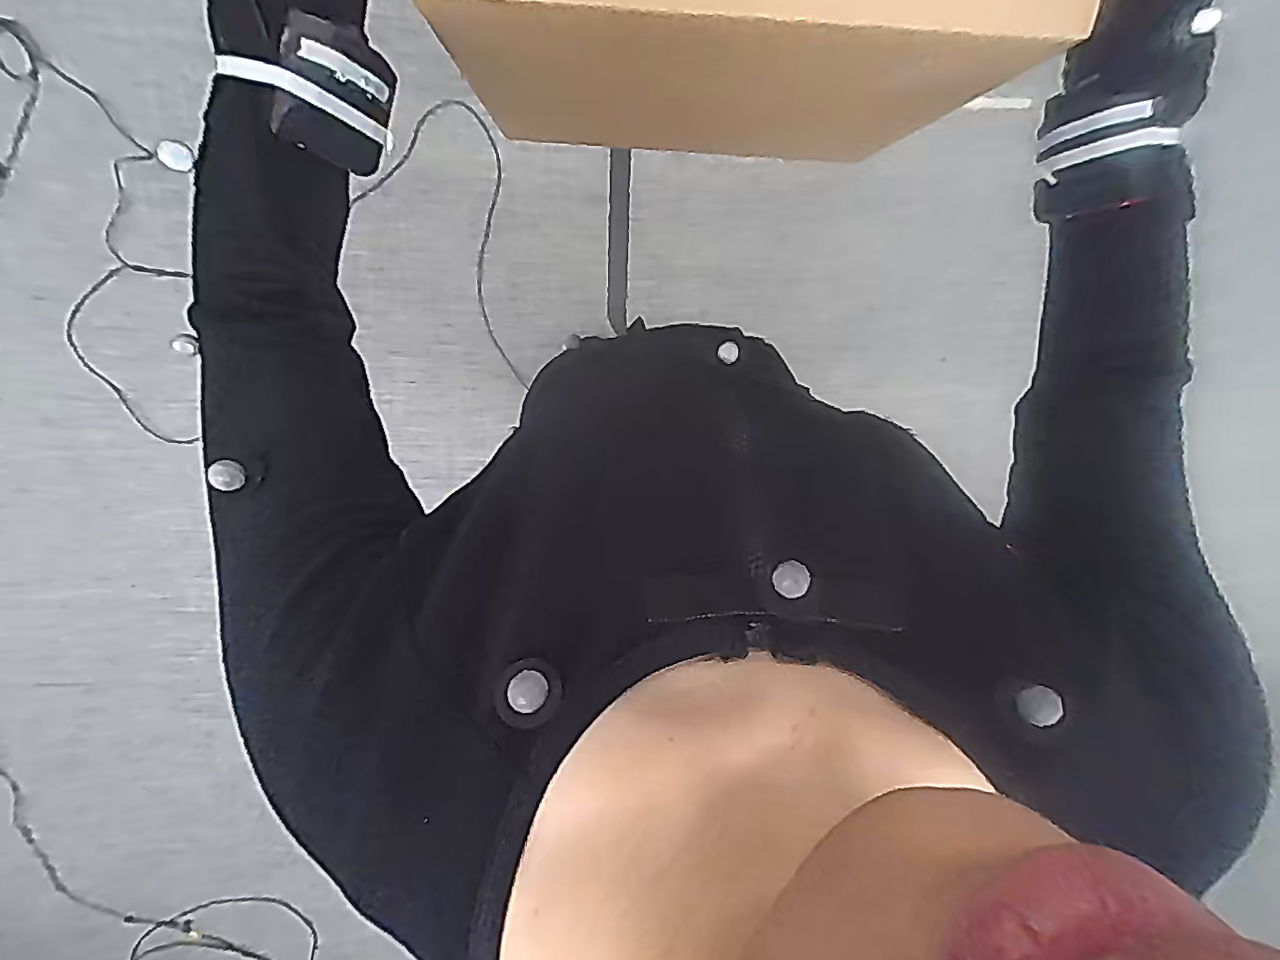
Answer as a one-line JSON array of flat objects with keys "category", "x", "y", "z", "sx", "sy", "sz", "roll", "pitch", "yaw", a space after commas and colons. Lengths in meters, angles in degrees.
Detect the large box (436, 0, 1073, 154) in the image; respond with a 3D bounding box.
[{"category": "large box", "x": 0.064, "y": -0.472, "z": 0.421, "sx": 0.408, "sy": 0.320, "sz": 0.320, "roll": 1, "pitch": 109, "yaw": -4}]
